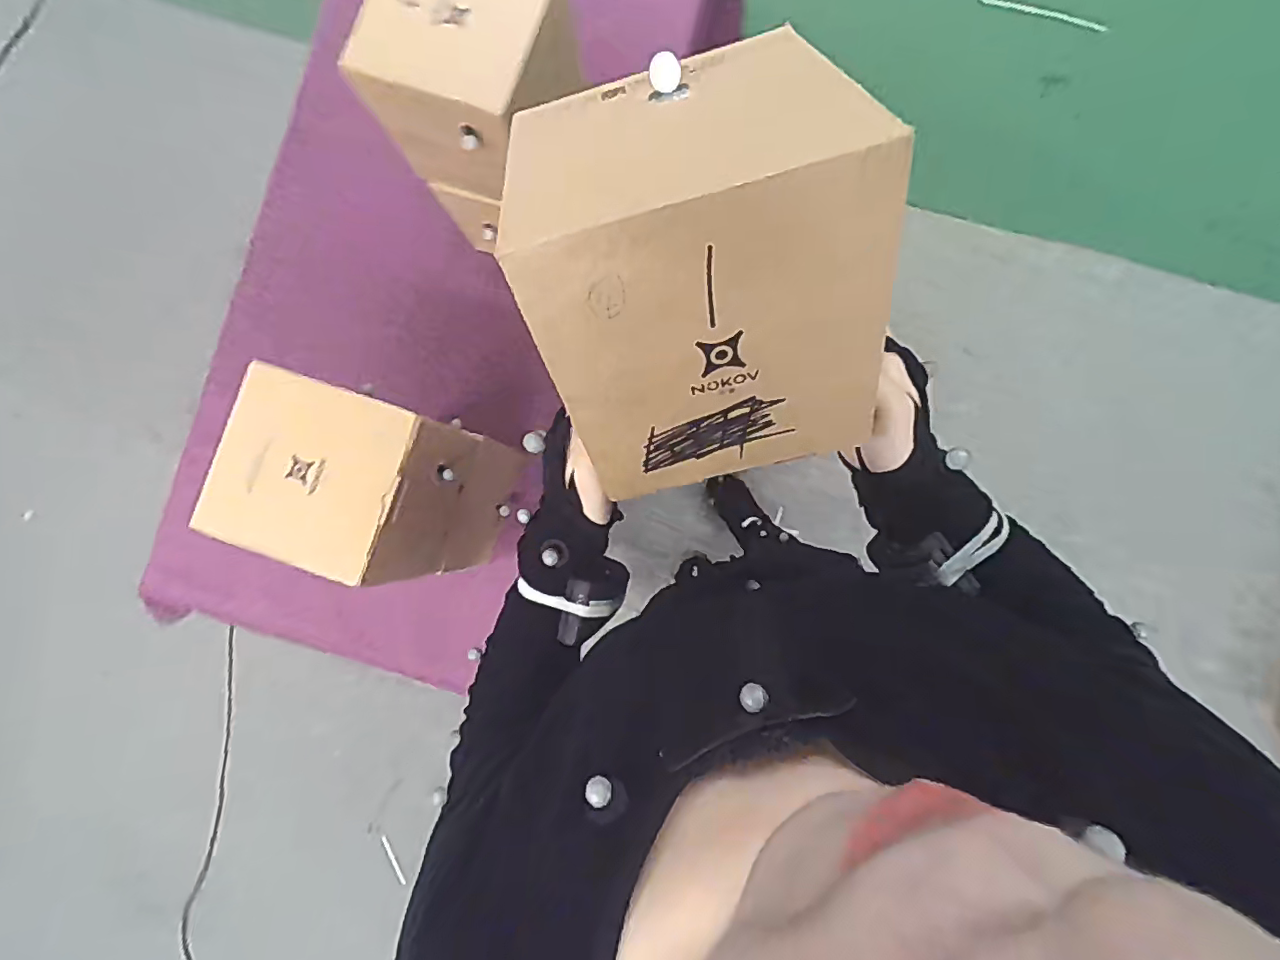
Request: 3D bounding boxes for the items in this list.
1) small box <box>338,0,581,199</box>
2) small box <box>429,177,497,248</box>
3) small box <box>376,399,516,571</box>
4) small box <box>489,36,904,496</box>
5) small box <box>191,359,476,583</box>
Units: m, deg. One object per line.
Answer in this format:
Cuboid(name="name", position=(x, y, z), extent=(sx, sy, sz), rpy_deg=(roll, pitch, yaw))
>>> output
Cuboid(name="small box", position=(-0.178, -0.438, 0.597), extent=(0.179, 0.176, 0.168), rpy_deg=(20, 87, 6))
Cuboid(name="small box", position=(-0.160, -0.424, 0.760), extent=(0.168, 0.176, 0.179), rpy_deg=(18, 87, 6))
Cuboid(name="small box", position=(-0.284, 0.010, 0.735), extent=(0.168, 0.176, 0.179), rpy_deg=(17, 86, 6))
Cuboid(name="small box", position=(0.030, -0.119, 0.322), extent=(0.168, 0.179, 0.176), rpy_deg=(-12, 49, 7))
Cuboid(name="small box", position=(-0.301, -0.005, 0.573), extent=(0.179, 0.176, 0.168), rpy_deg=(19, 87, 6))
